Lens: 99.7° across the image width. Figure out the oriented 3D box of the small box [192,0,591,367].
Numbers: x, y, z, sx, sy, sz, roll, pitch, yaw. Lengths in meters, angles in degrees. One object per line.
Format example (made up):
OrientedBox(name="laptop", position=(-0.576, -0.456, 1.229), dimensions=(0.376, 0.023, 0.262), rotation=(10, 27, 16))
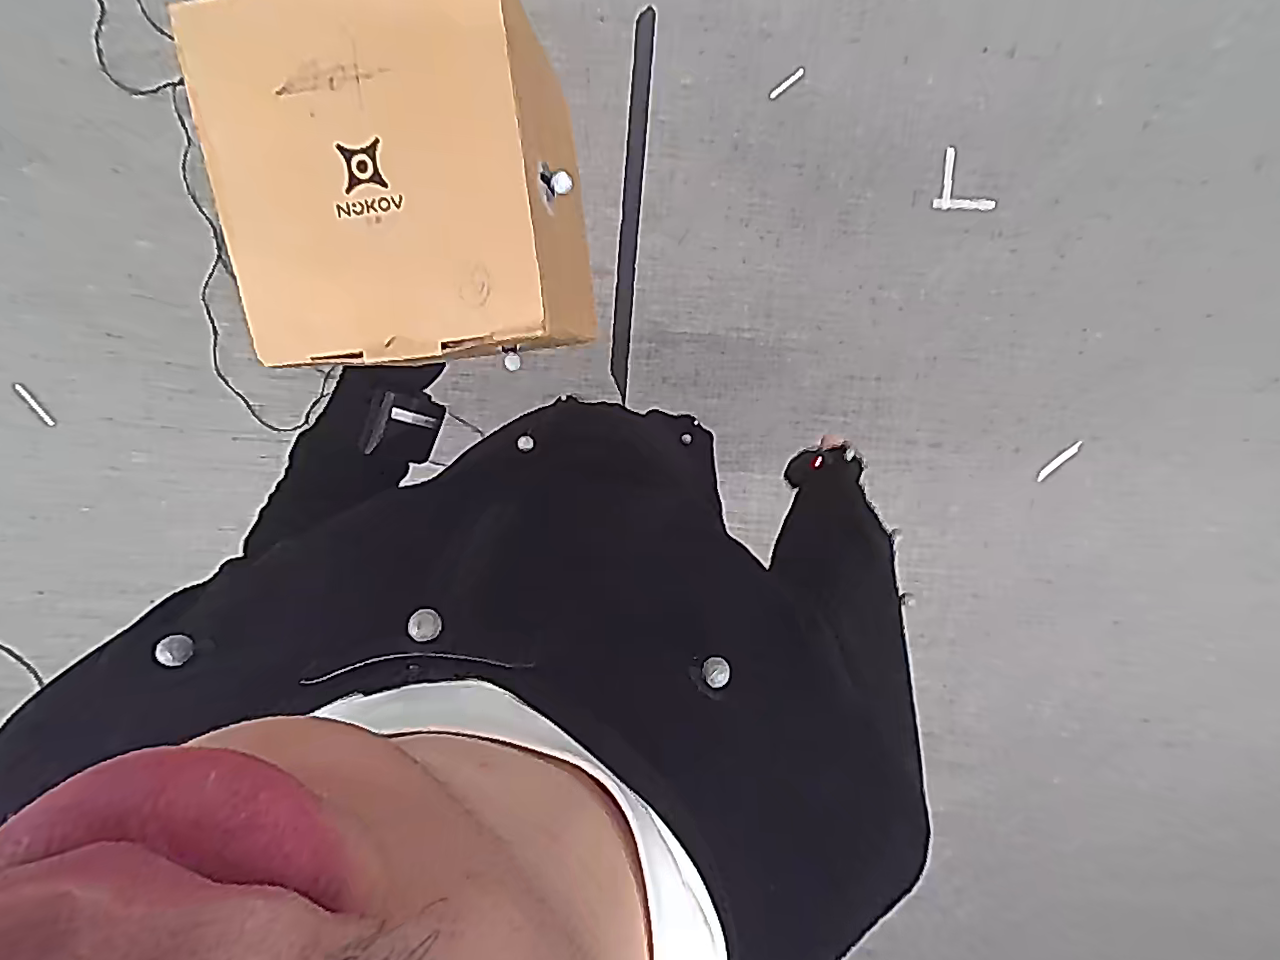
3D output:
OrientedBox(name="small box", position=(-0.133, -0.174, 0.363), dimensions=(0.168, 0.176, 0.179), rotation=(-5, 102, 5))
